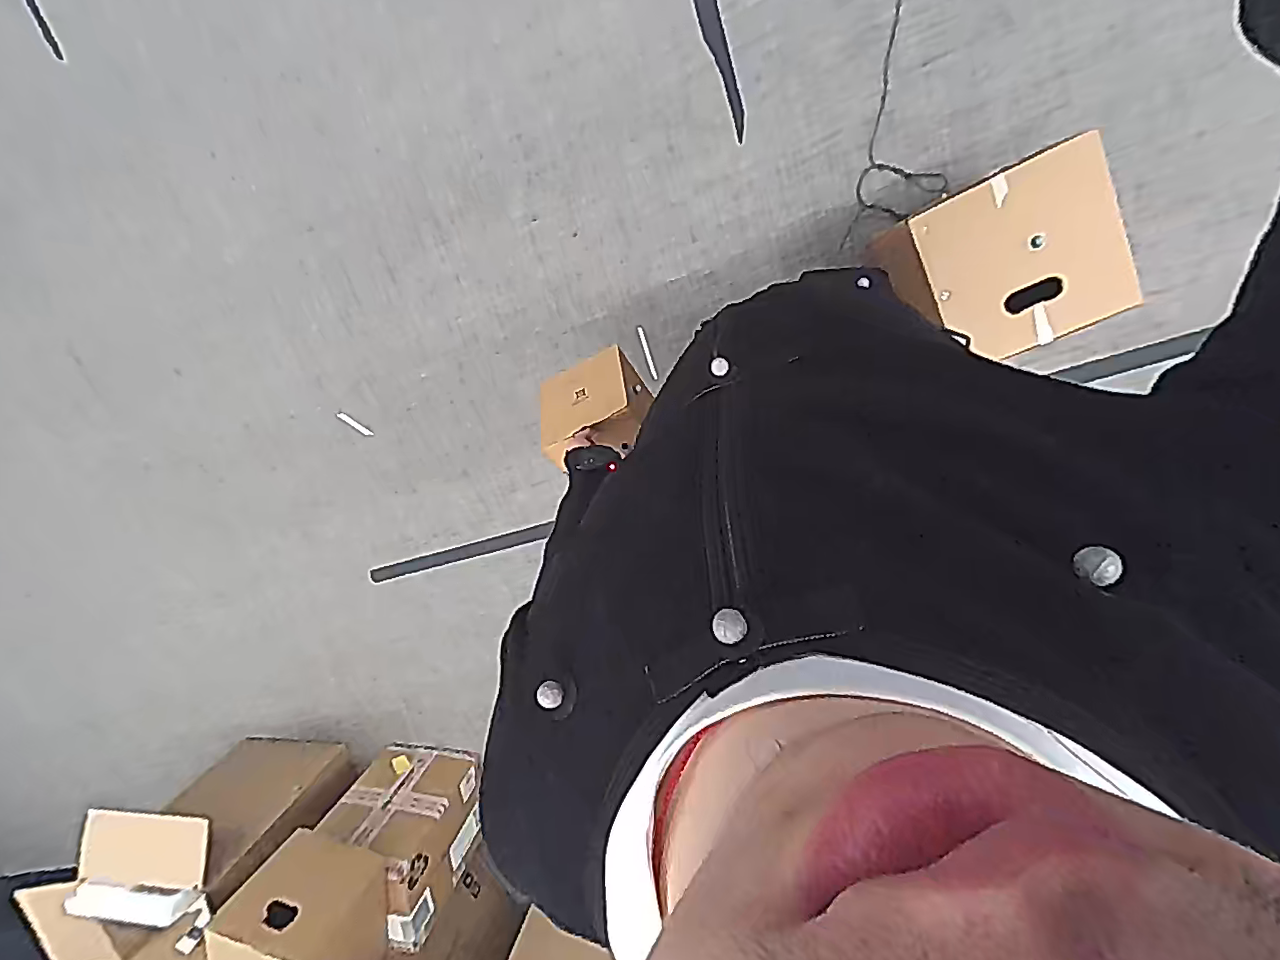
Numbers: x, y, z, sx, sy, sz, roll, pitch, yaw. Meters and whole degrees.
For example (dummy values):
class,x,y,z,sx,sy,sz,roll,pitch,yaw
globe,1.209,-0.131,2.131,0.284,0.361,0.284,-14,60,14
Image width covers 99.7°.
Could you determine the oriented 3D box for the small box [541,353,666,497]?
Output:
class,x,y,z,sx,sy,sz,roll,pitch,yaw
small box,-0.065,-0.090,0.985,0.168,0.179,0.176,-24,136,15
